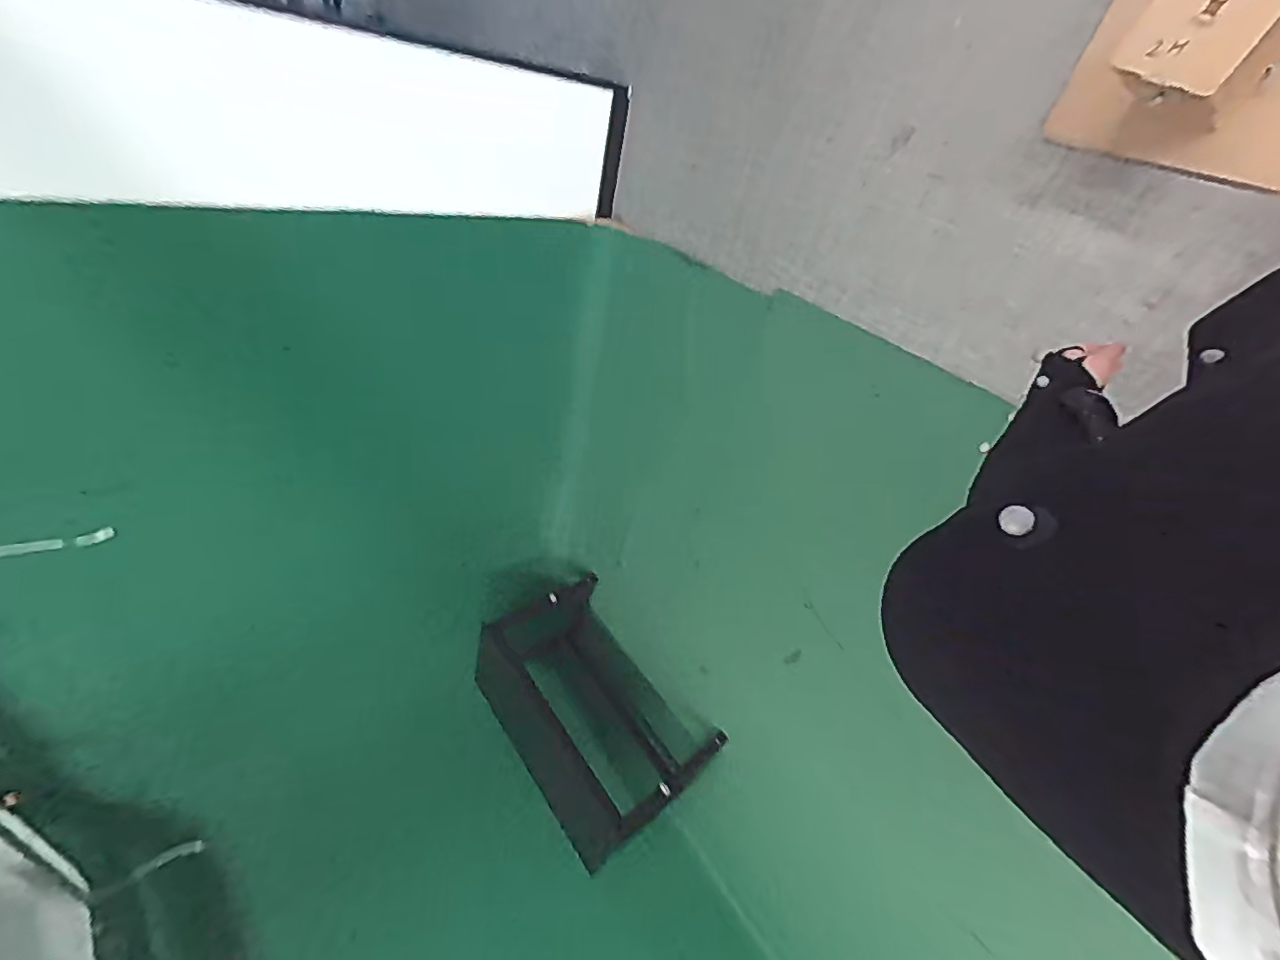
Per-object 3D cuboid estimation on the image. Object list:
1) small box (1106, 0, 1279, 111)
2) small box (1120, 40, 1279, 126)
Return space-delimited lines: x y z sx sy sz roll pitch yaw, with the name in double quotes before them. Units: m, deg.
"small box" 0.908 -0.726 0.862 0.168 0.176 0.179 48 137 26
"small box" 1.026 -0.772 0.970 0.168 0.176 0.179 48 137 26
